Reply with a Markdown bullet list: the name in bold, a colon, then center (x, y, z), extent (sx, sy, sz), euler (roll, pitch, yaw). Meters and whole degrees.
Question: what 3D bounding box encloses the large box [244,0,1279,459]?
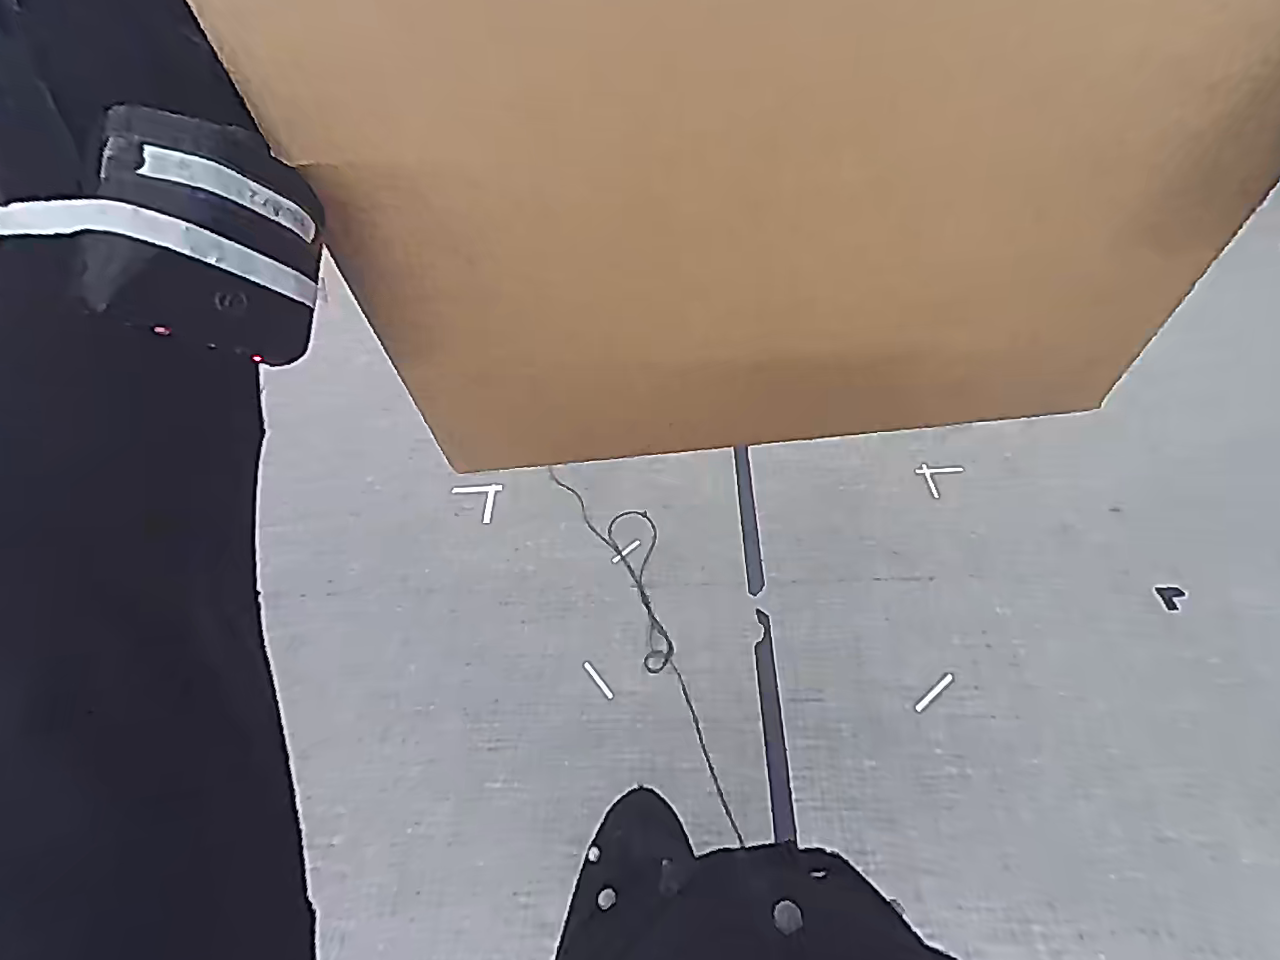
- **large box**: center (0.057, -0.241, 0.331), extent (0.408, 0.320, 0.320), euler (-6, 51, 0)
